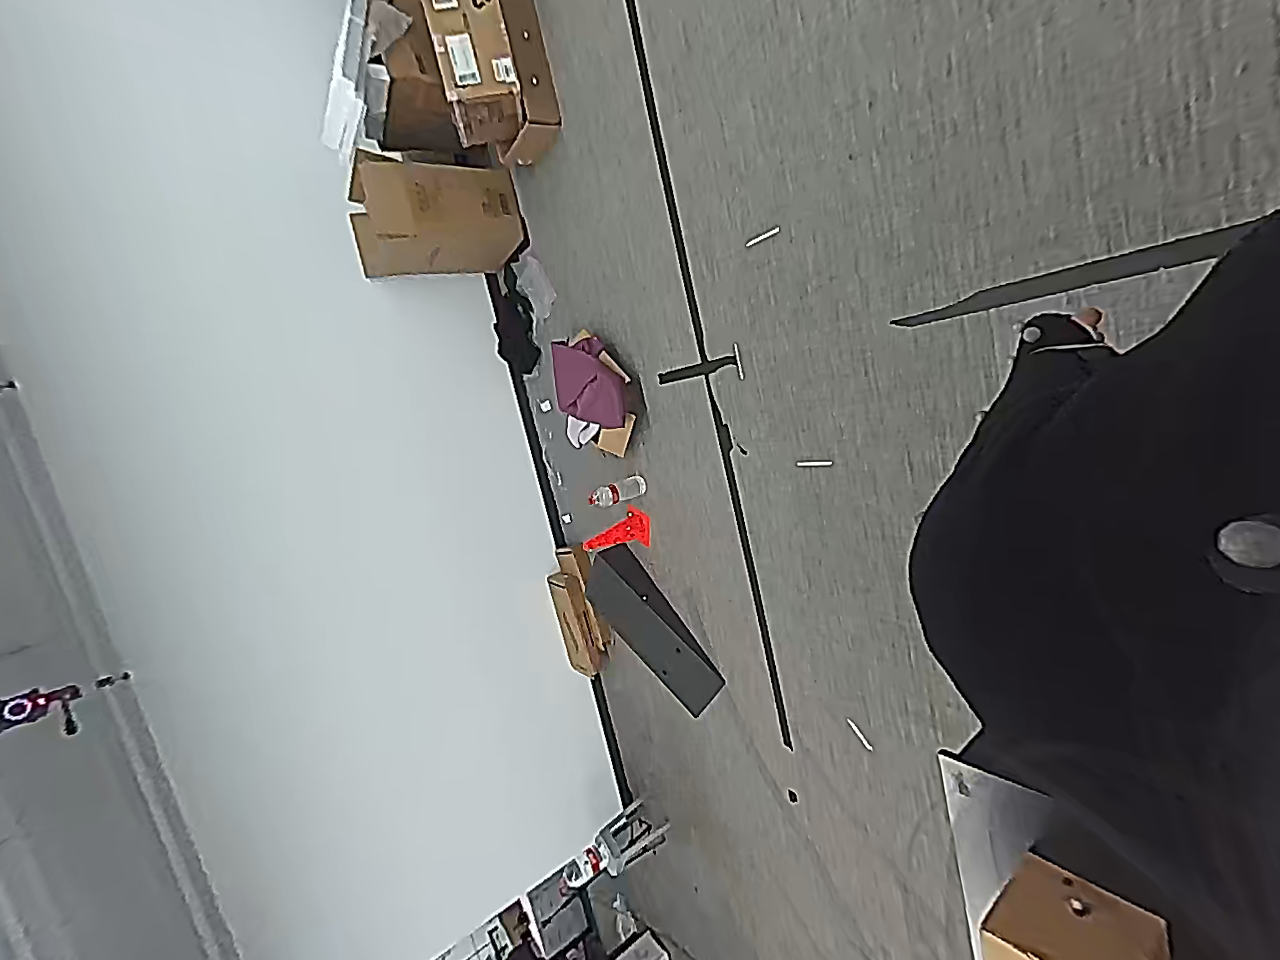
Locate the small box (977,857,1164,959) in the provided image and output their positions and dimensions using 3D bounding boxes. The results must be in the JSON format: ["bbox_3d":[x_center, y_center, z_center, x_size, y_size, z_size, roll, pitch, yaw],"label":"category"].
[{"bbox_3d":[0.612,0.699,0.765,0.168,0.176,0.179,2,108,56],"label":"small box"}]
